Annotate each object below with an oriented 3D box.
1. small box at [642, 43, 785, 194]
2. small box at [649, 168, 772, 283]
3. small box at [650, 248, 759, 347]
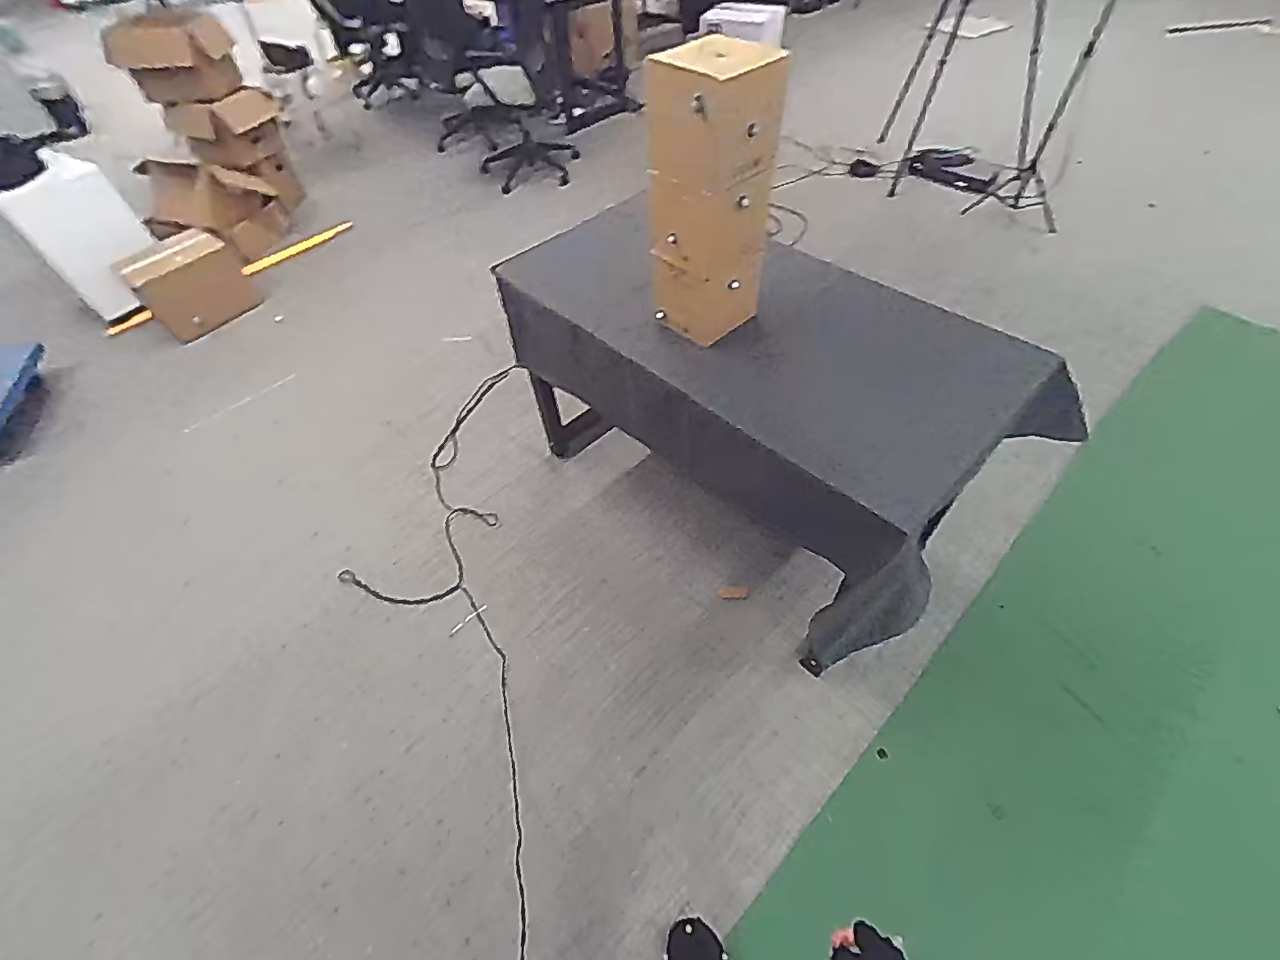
[{"bbox_3d":[0.124,-0.626,0.943,0.168,0.176,0.179,-37,58,-23],"label":"small box"},{"bbox_3d":[0.133,-0.525,1.074,0.179,0.176,0.168,-38,58,-24],"label":"small box"},{"bbox_3d":[0.142,-0.425,1.201,0.179,0.176,0.168,-38,58,-25],"label":"small box"}]
